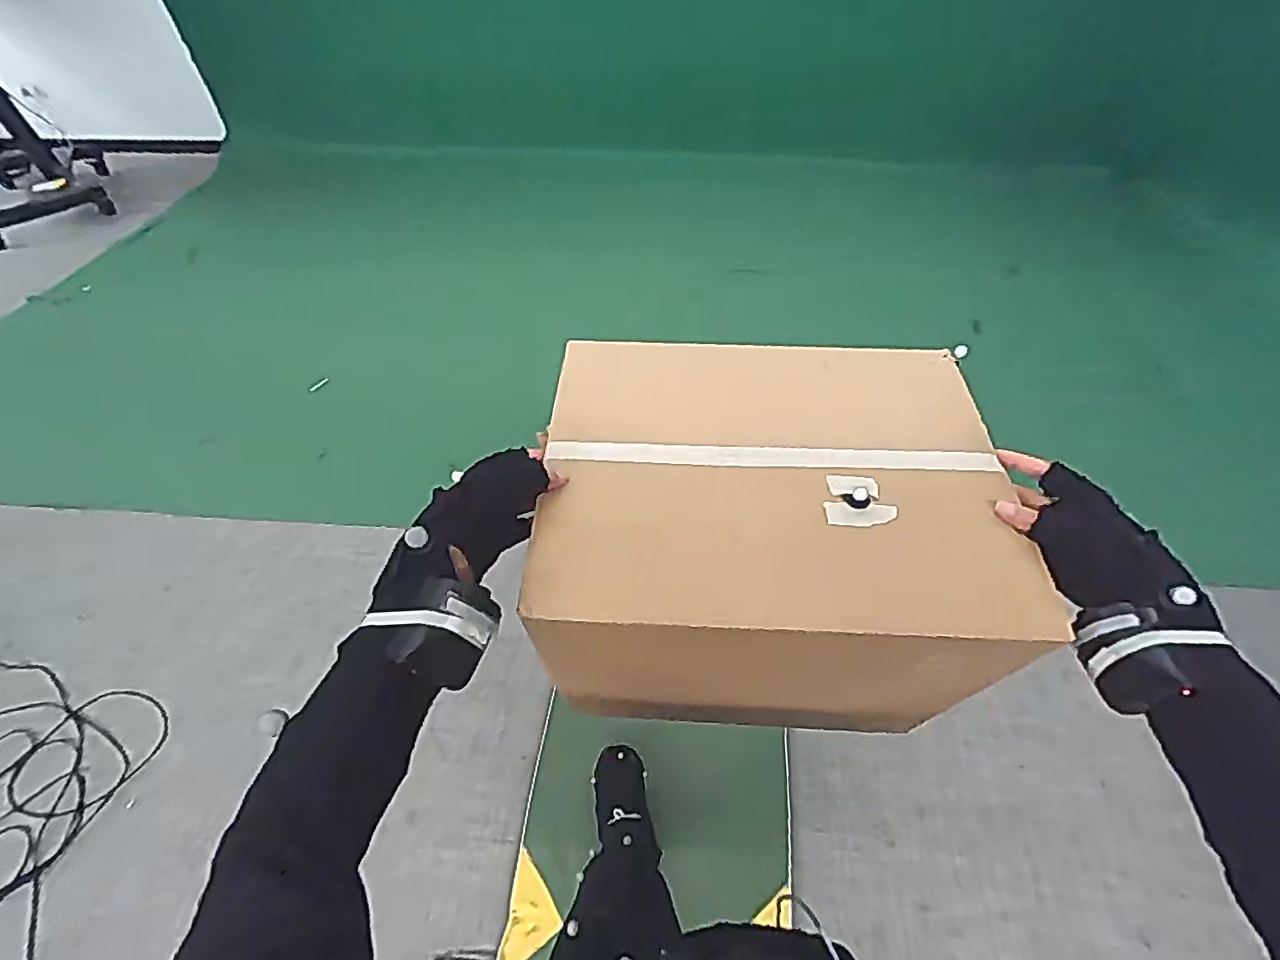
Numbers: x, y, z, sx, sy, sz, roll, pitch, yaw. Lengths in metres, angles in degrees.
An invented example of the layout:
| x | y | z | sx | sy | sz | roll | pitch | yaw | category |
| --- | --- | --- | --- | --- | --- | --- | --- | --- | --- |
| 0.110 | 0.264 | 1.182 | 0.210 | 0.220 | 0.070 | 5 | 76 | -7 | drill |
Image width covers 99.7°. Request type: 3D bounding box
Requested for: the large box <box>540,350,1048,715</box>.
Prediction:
| x | y | z | sx | sy | sz | roll | pitch | yaw | category |
| --- | --- | --- | --- | --- | --- | --- | --- | --- | --- |
| 0.119 | 0.072 | 0.623 | 0.408 | 0.320 | 0.320 | 2 | 55 | 1 | large box |
